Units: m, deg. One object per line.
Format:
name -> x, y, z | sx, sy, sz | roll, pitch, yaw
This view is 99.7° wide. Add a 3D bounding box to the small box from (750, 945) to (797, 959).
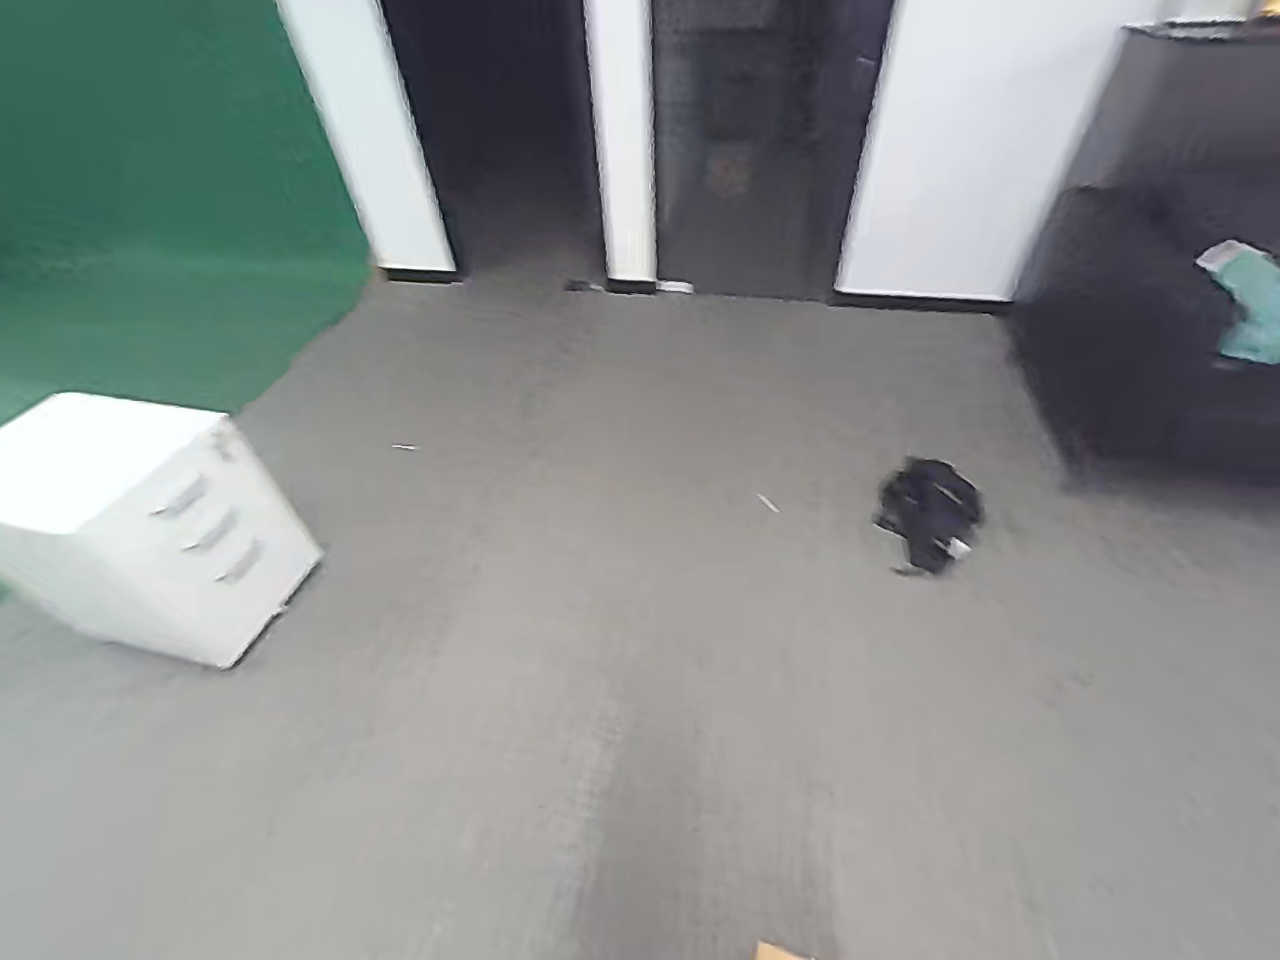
small box -> 0.252, 0.913, 0.888 | 0.168, 0.176, 0.179 | 12, 47, 15
